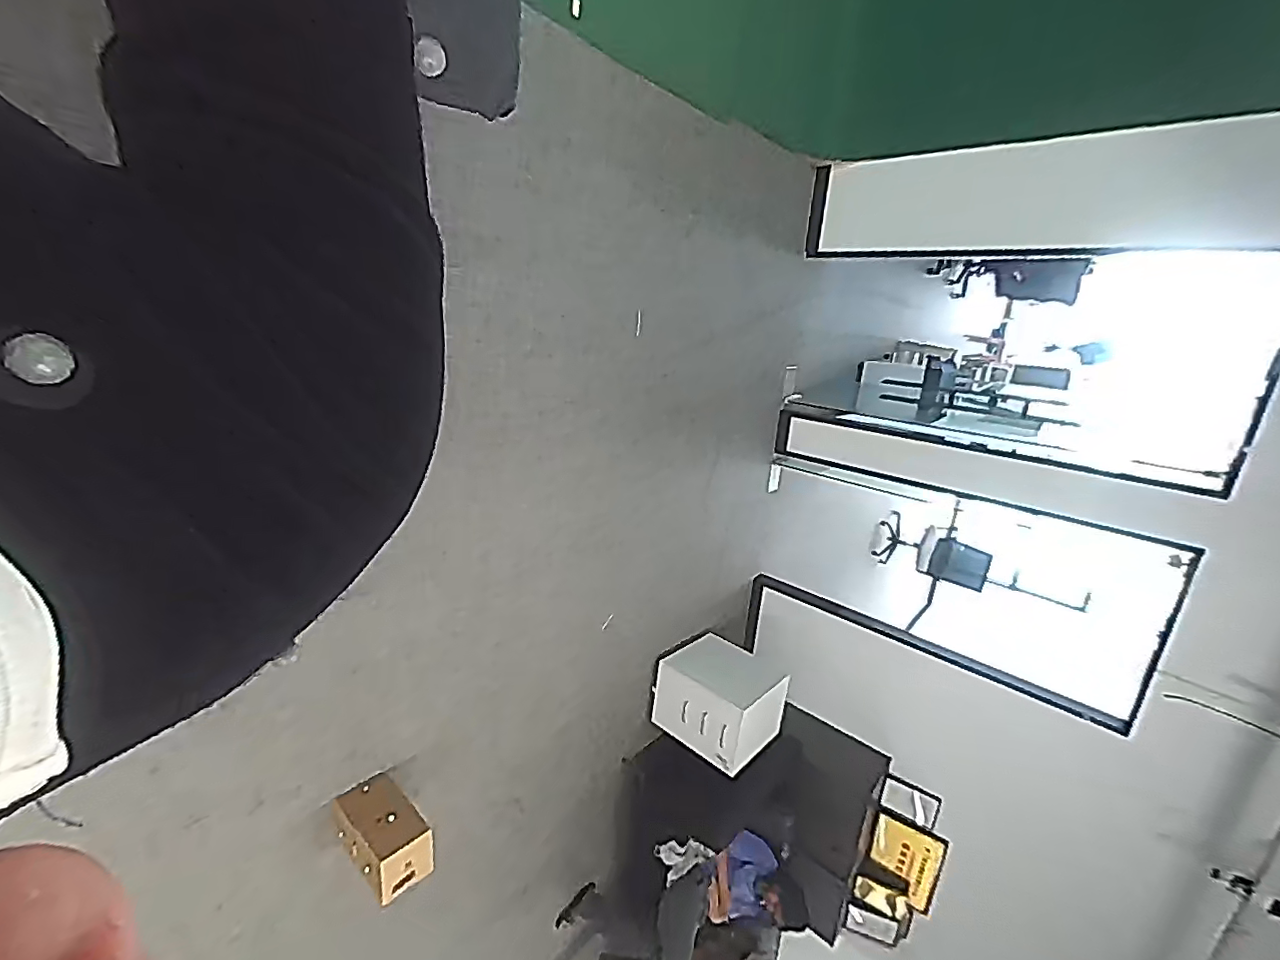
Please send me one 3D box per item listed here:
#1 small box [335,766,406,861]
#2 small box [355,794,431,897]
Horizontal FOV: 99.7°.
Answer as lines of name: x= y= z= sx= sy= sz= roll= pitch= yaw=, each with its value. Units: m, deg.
small box: x=-0.910 y=1.115 z=1.819 sx=0.179 sy=0.176 sz=0.168 roll=-12 pitch=115 yaw=-48
small box: x=-0.785 y=1.150 z=1.717 sx=0.168 sy=0.176 sz=0.179 roll=-14 pitch=115 yaw=-48
